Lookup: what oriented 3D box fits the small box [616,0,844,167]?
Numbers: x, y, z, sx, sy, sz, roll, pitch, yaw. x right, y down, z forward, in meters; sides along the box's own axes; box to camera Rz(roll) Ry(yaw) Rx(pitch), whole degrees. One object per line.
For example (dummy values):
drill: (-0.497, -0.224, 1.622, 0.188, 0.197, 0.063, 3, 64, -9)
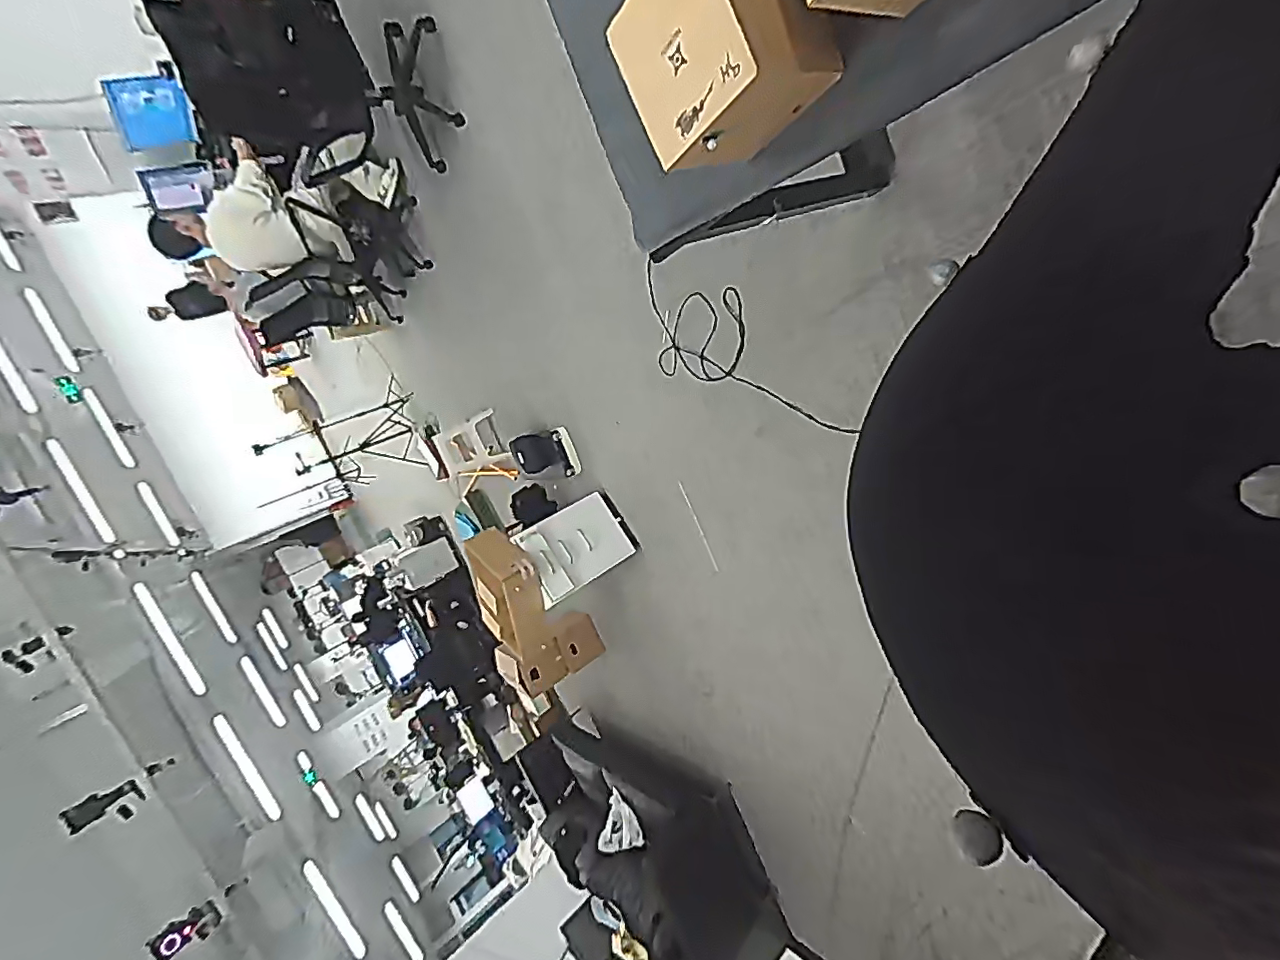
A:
small box: (0.106, -0.505, 0.638, 0.168, 0.176, 0.179, -11, 104, 58)
